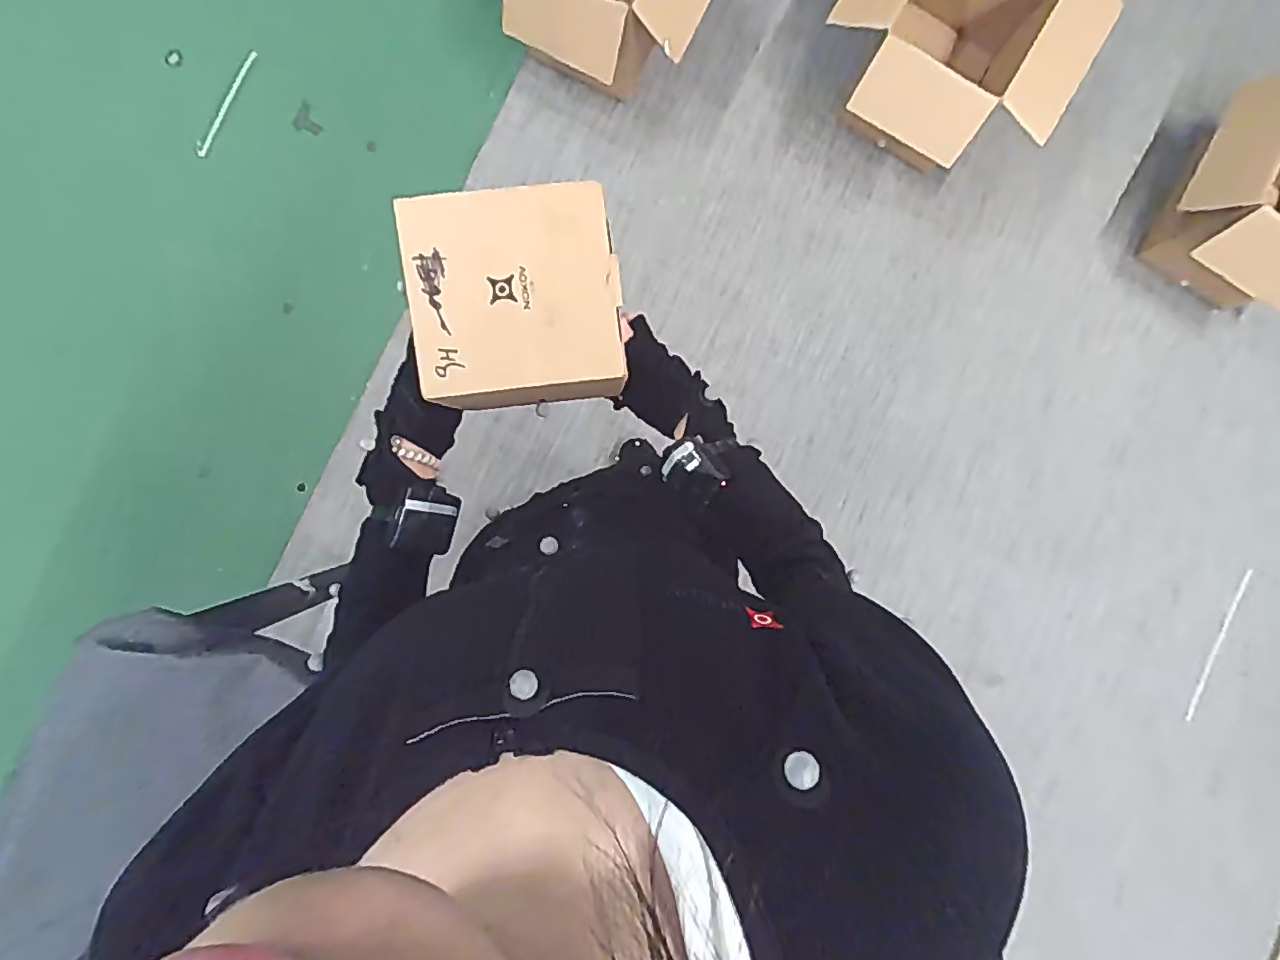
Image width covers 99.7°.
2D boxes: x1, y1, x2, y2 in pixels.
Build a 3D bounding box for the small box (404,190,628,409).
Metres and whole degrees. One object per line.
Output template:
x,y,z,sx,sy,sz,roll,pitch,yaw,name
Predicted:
-0.111,-0.165,0.540,0.179,0.176,0.168,-6,93,-5,small box
